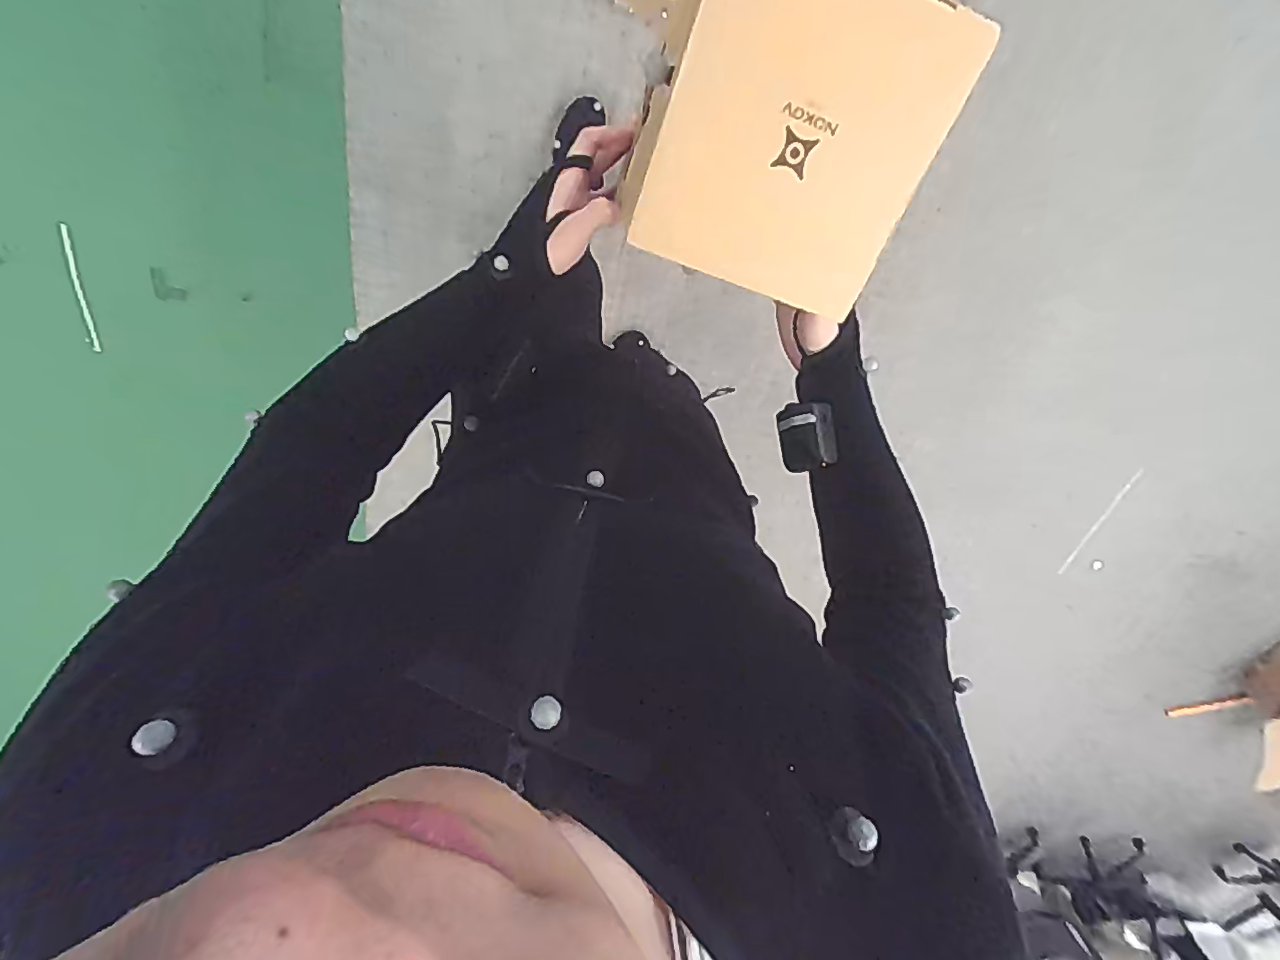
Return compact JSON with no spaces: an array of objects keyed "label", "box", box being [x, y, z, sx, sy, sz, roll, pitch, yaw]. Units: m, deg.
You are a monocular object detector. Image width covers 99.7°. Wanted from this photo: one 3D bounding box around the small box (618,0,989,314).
[{"label":"small box","box":[0.089,-0.250,0.393,0.168,0.176,0.179,16,119,-12]}]
